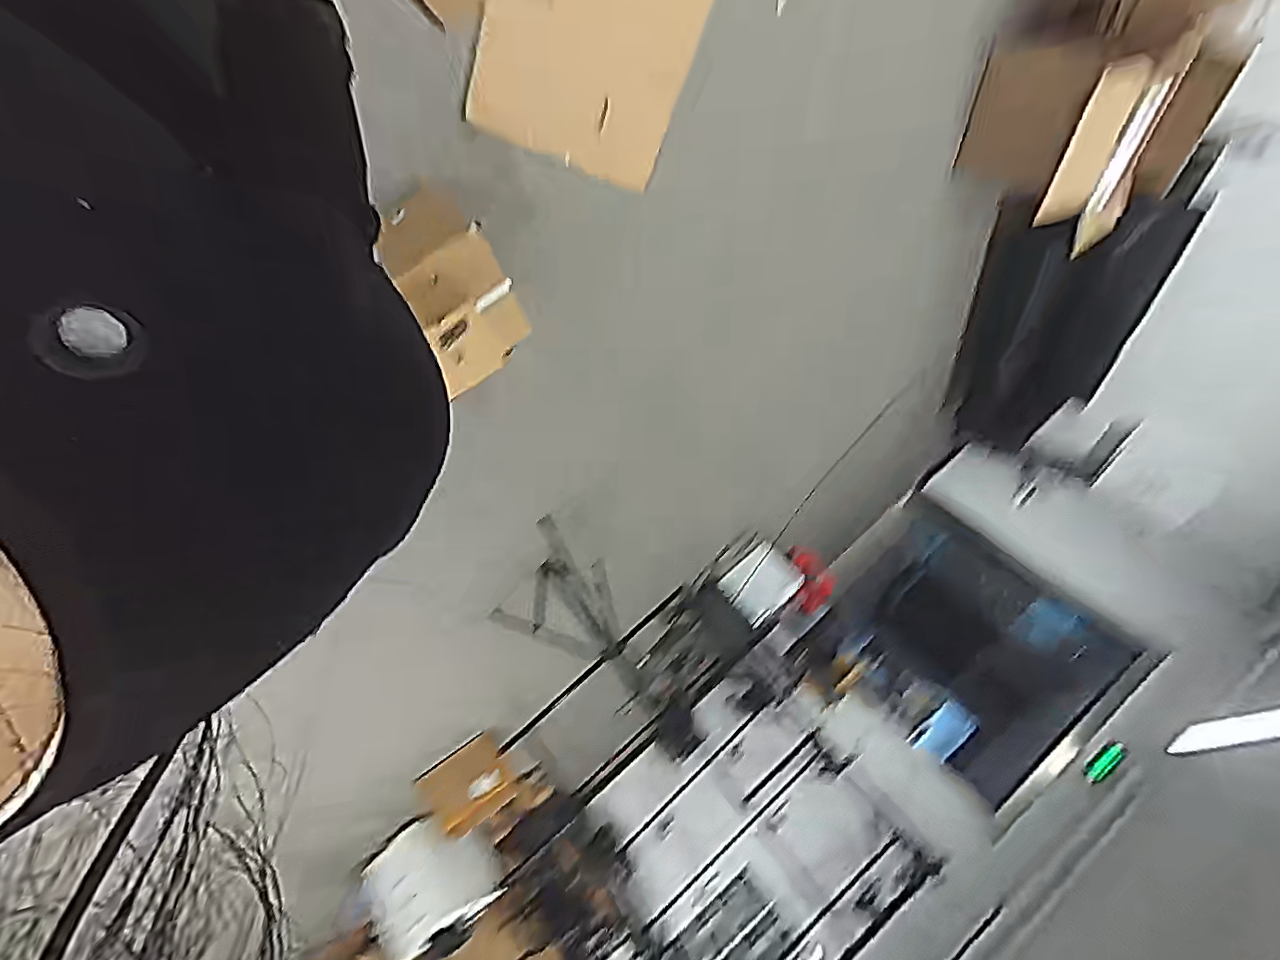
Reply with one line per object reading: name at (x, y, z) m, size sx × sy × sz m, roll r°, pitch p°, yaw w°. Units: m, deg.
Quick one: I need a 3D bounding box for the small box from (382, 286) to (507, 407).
small box at (-0.428, -0.300, 1.182) m, size 0.168 × 0.176 × 0.179 m, roll -36°, pitch 145°, yaw -13°
